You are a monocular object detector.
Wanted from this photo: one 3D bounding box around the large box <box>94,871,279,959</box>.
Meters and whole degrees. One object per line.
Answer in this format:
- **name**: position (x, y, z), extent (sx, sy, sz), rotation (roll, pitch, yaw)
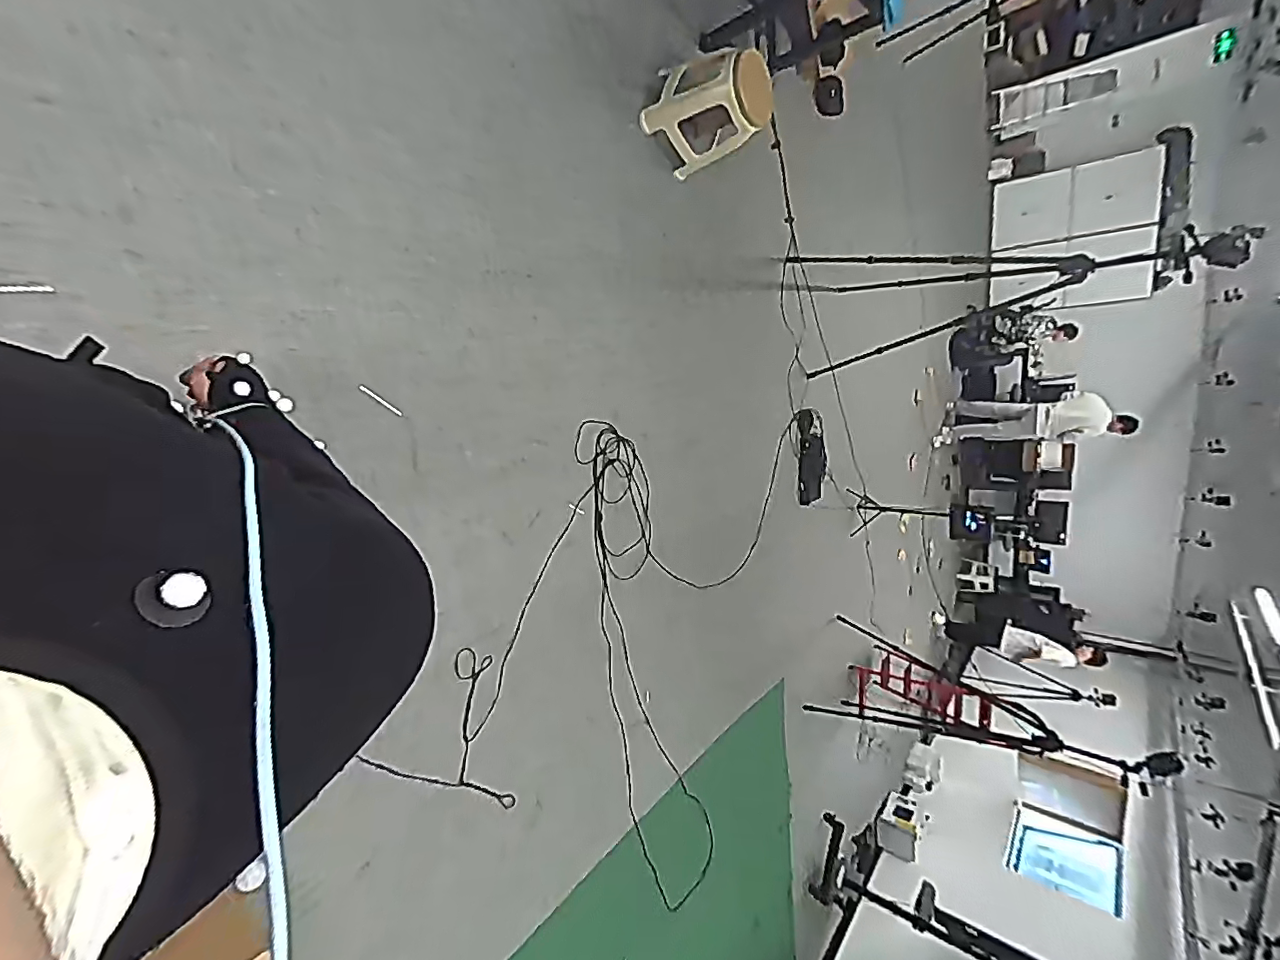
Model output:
- **large box**: position (-1.067, 1.233, 1.230), extent (0.408, 0.320, 0.320), rotation (-17, 106, -45)
